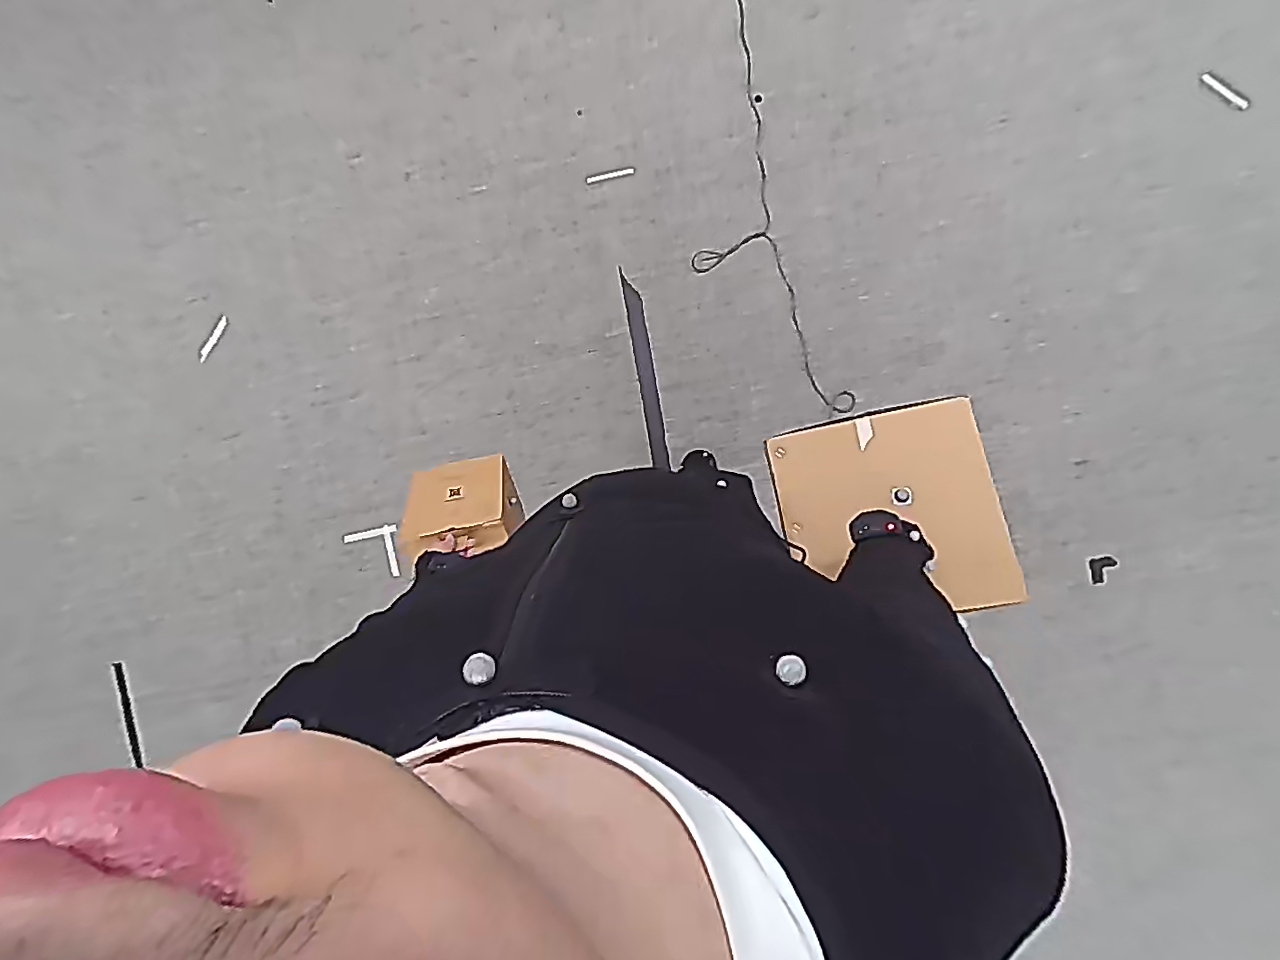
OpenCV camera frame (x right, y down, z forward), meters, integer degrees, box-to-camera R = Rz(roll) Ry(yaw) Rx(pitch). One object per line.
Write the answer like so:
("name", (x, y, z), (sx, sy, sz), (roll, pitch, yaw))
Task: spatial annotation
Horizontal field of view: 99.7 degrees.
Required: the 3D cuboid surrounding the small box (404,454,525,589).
("small box", (-0.311, 0.082, 0.993), (0.168, 0.179, 0.176), (-11, 133, -4))
